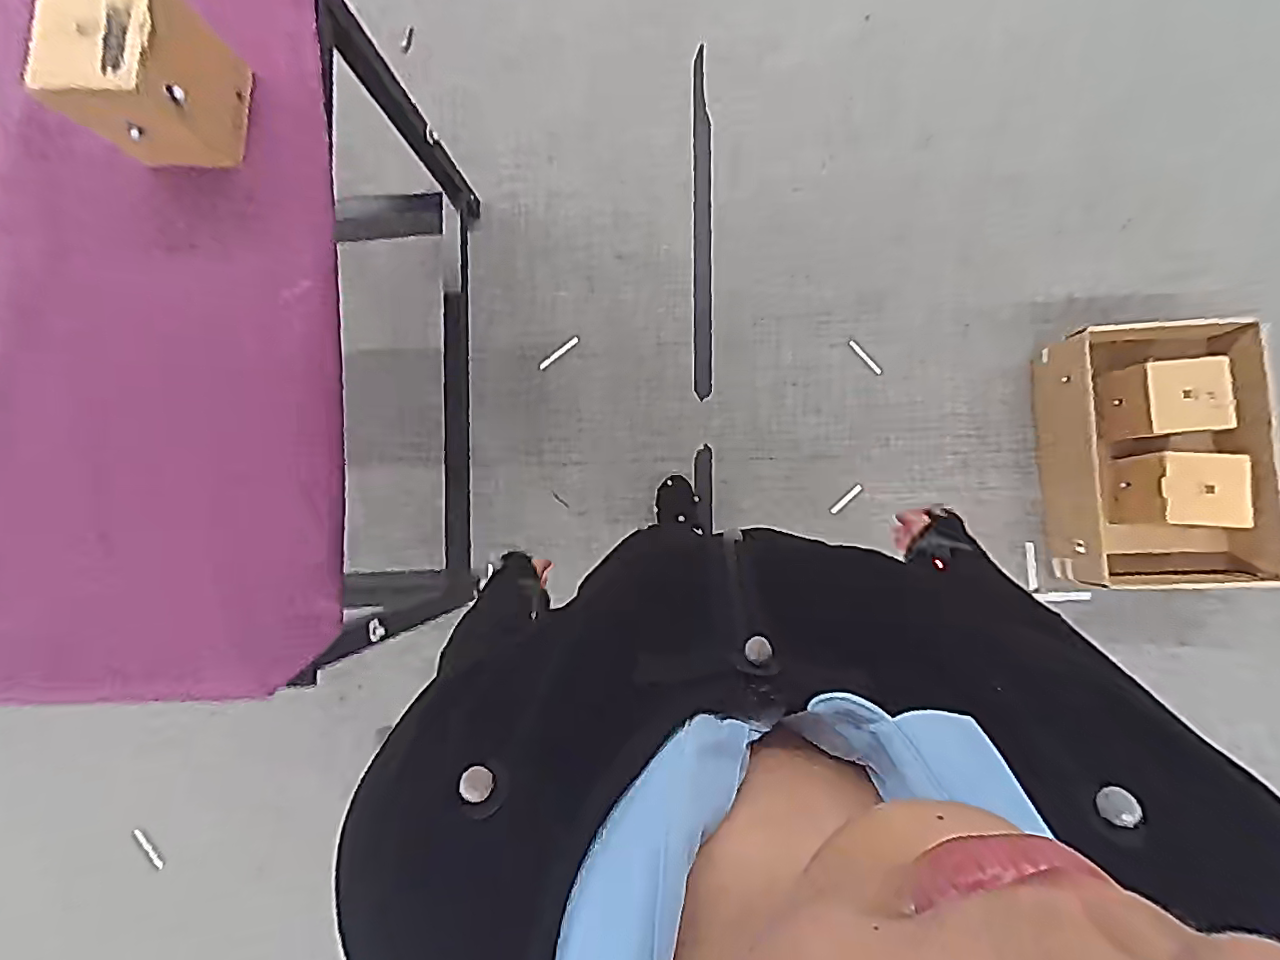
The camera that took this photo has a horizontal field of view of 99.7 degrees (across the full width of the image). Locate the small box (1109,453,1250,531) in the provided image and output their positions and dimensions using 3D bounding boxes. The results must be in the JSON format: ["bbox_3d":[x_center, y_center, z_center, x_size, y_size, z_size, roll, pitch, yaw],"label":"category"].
[{"bbox_3d":[1.276,0.031,1.287,0.179,0.176,0.168,3,86,5],"label":"small box"}]

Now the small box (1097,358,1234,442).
[{"bbox_3d":[1.249,-0.185,1.302,0.179,0.176,0.168,-4,87,5],"label":"small box"}]
